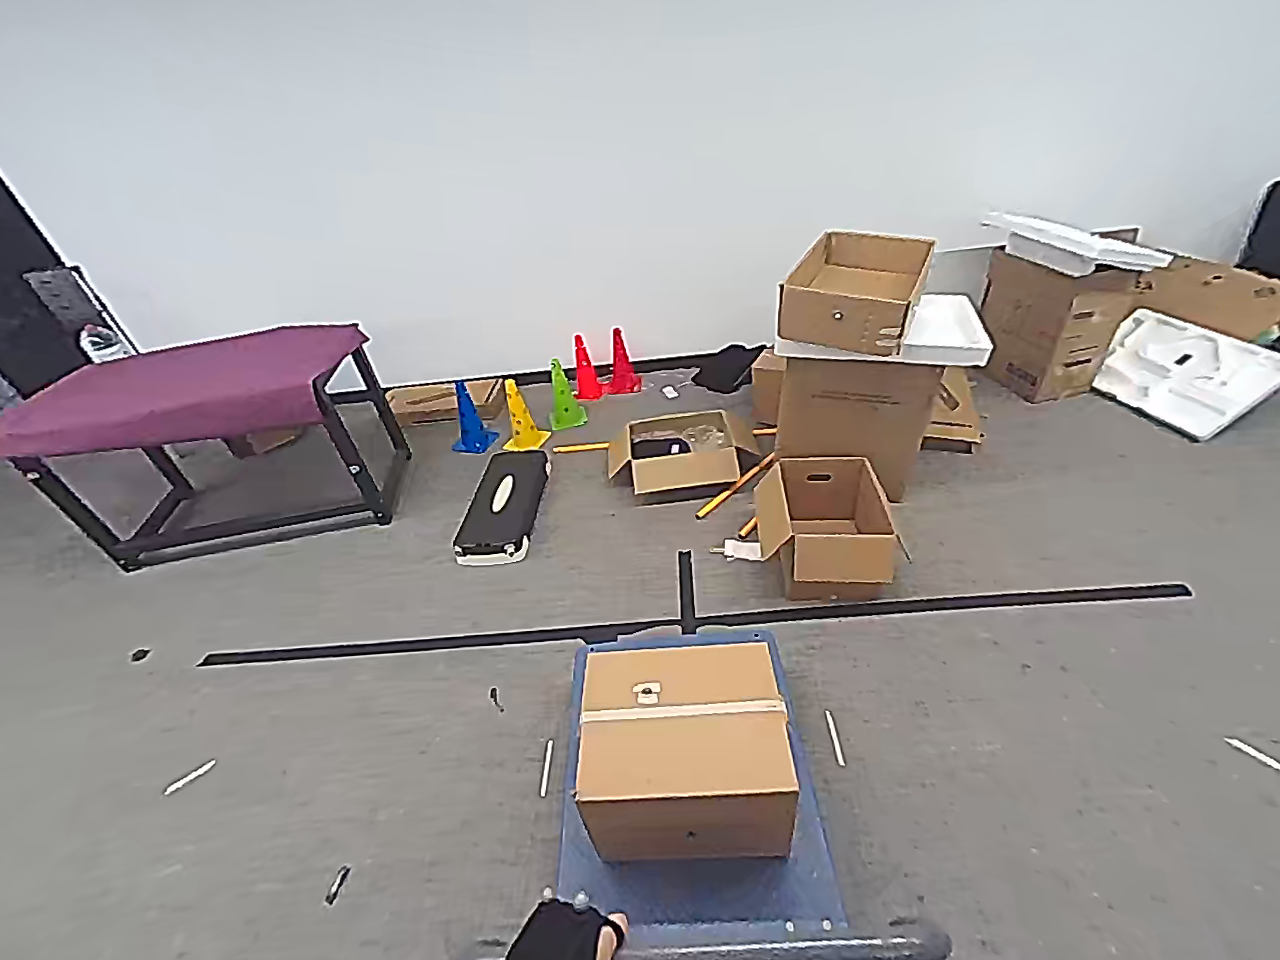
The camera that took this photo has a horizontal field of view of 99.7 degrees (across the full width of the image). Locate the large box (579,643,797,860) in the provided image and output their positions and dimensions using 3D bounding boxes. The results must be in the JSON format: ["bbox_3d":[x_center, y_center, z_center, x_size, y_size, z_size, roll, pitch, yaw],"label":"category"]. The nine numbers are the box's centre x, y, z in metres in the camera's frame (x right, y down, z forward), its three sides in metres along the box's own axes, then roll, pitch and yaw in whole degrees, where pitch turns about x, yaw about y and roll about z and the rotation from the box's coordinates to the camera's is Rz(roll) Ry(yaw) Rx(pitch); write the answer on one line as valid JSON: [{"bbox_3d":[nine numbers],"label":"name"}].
[{"bbox_3d":[0.102,0.594,1.185,0.408,0.320,0.320,-6,36,4],"label":"large box"}]
